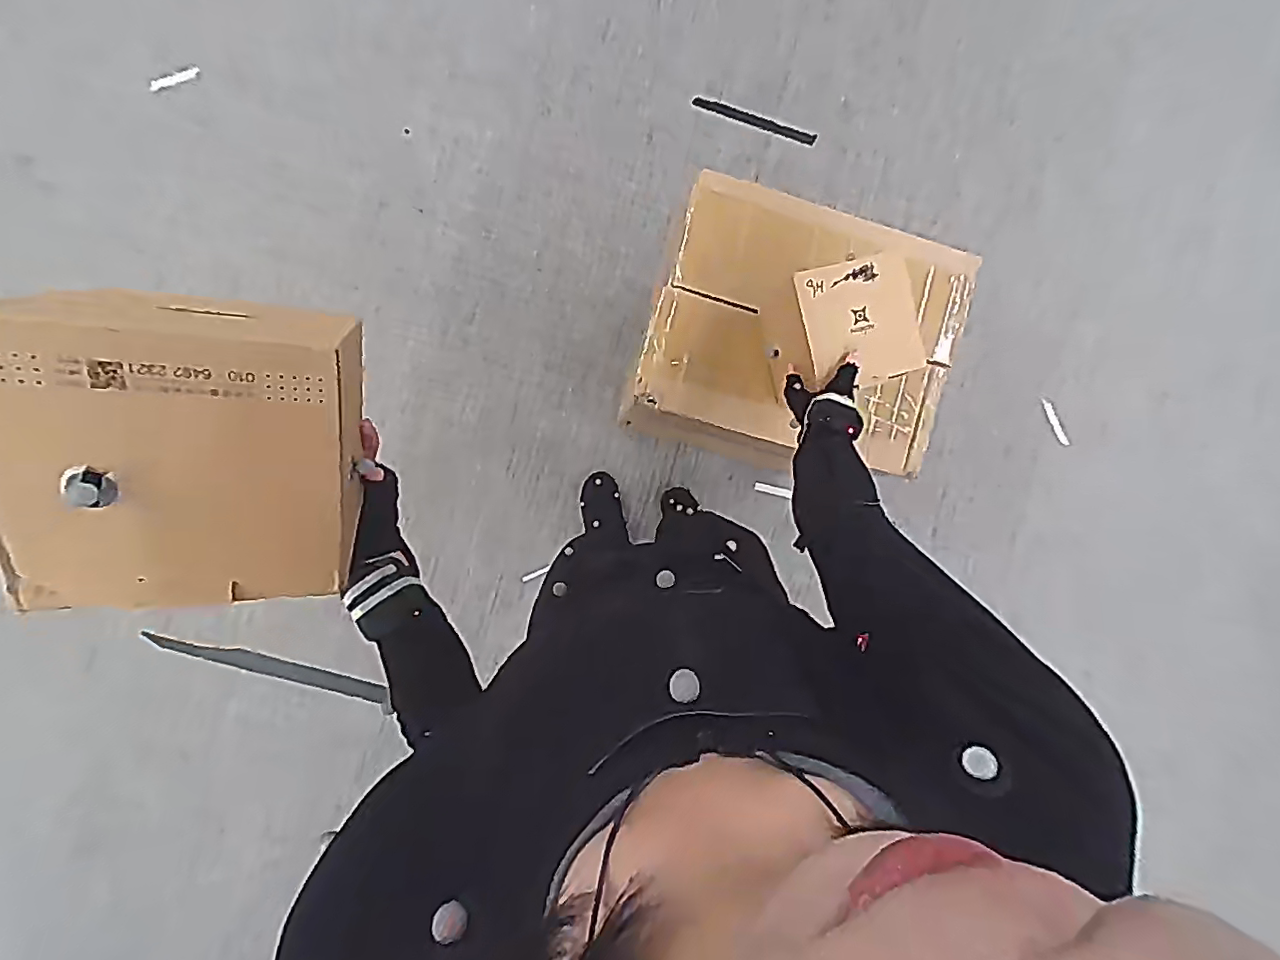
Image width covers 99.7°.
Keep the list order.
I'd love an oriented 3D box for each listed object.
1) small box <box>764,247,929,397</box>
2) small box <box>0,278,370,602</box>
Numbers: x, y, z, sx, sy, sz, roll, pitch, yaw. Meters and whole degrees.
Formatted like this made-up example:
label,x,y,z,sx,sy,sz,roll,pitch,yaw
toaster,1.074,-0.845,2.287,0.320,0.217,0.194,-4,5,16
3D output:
label,x,y,z,sx,sy,sz,roll,pitch,yaw
small box,0.306,-0.229,0.834,0.168,0.176,0.179,-14,94,-3
small box,-0.285,-0.039,0.373,0.168,0.179,0.176,2,112,-23
